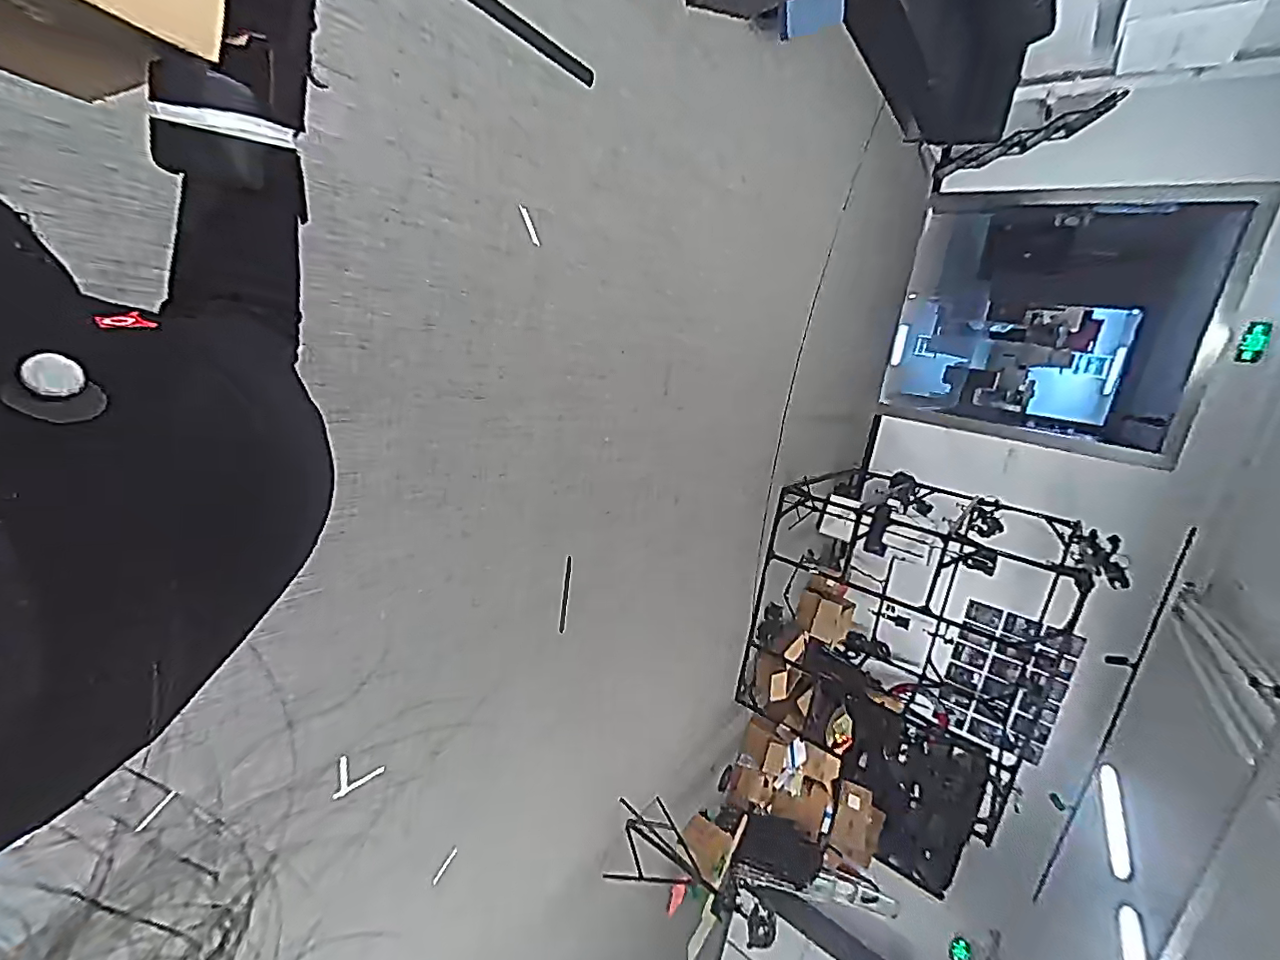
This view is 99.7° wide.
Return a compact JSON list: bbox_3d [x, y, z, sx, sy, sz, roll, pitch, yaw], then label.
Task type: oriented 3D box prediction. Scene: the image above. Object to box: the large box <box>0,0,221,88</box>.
[{"bbox_3d":[-0.466,-0.445,0.224,0.408,0.320,0.320,-4,112,-56],"label":"large box"}]
